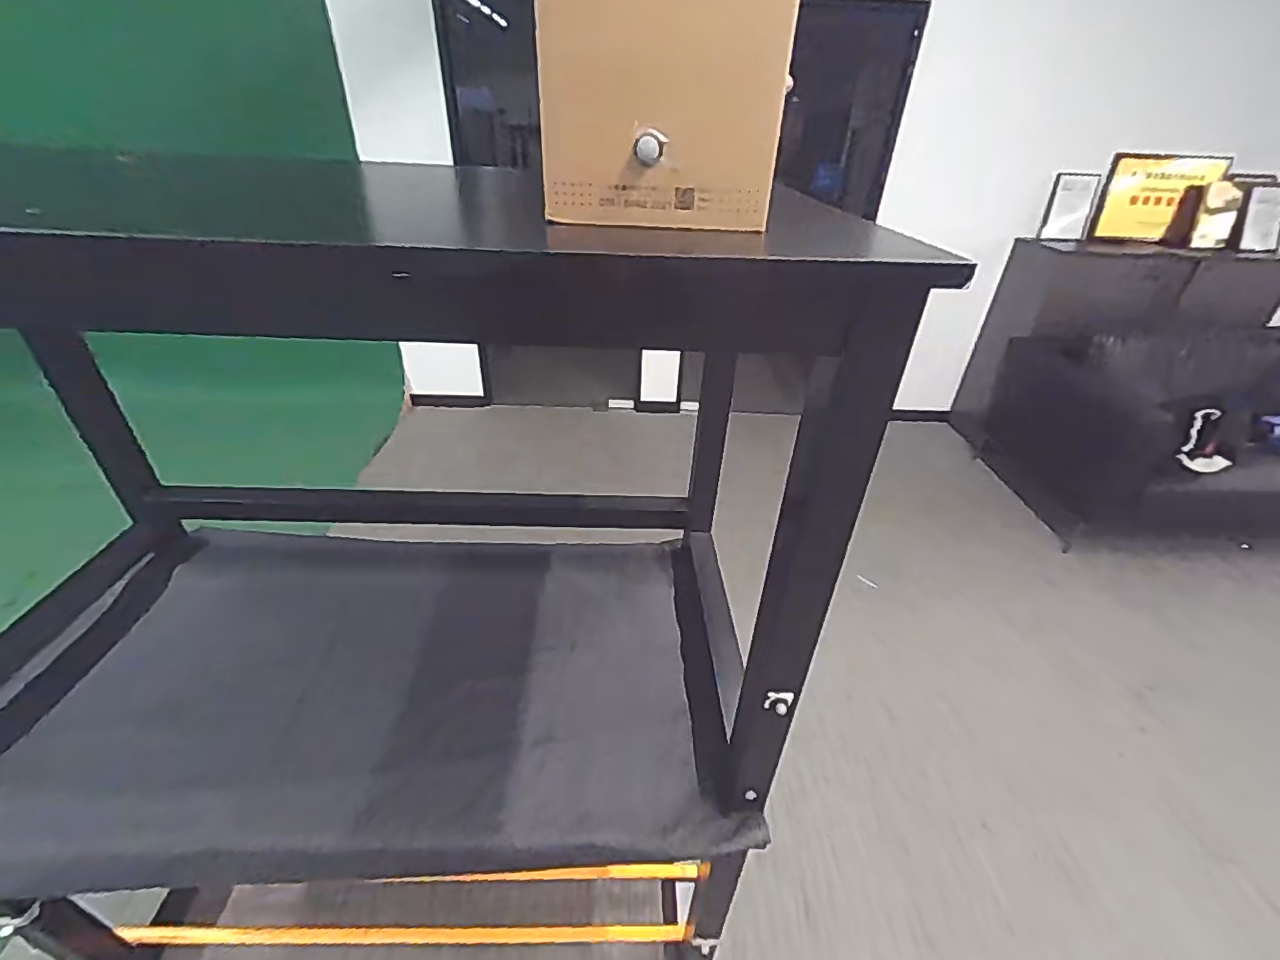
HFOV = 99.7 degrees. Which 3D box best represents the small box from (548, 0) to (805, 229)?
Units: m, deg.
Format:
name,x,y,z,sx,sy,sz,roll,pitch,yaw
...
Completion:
name,x,y,z,sx,sy,sz,roll,pitch,yaw
small box,0.024,-0.307,0.426,0.168,0.176,0.179,4,34,3
